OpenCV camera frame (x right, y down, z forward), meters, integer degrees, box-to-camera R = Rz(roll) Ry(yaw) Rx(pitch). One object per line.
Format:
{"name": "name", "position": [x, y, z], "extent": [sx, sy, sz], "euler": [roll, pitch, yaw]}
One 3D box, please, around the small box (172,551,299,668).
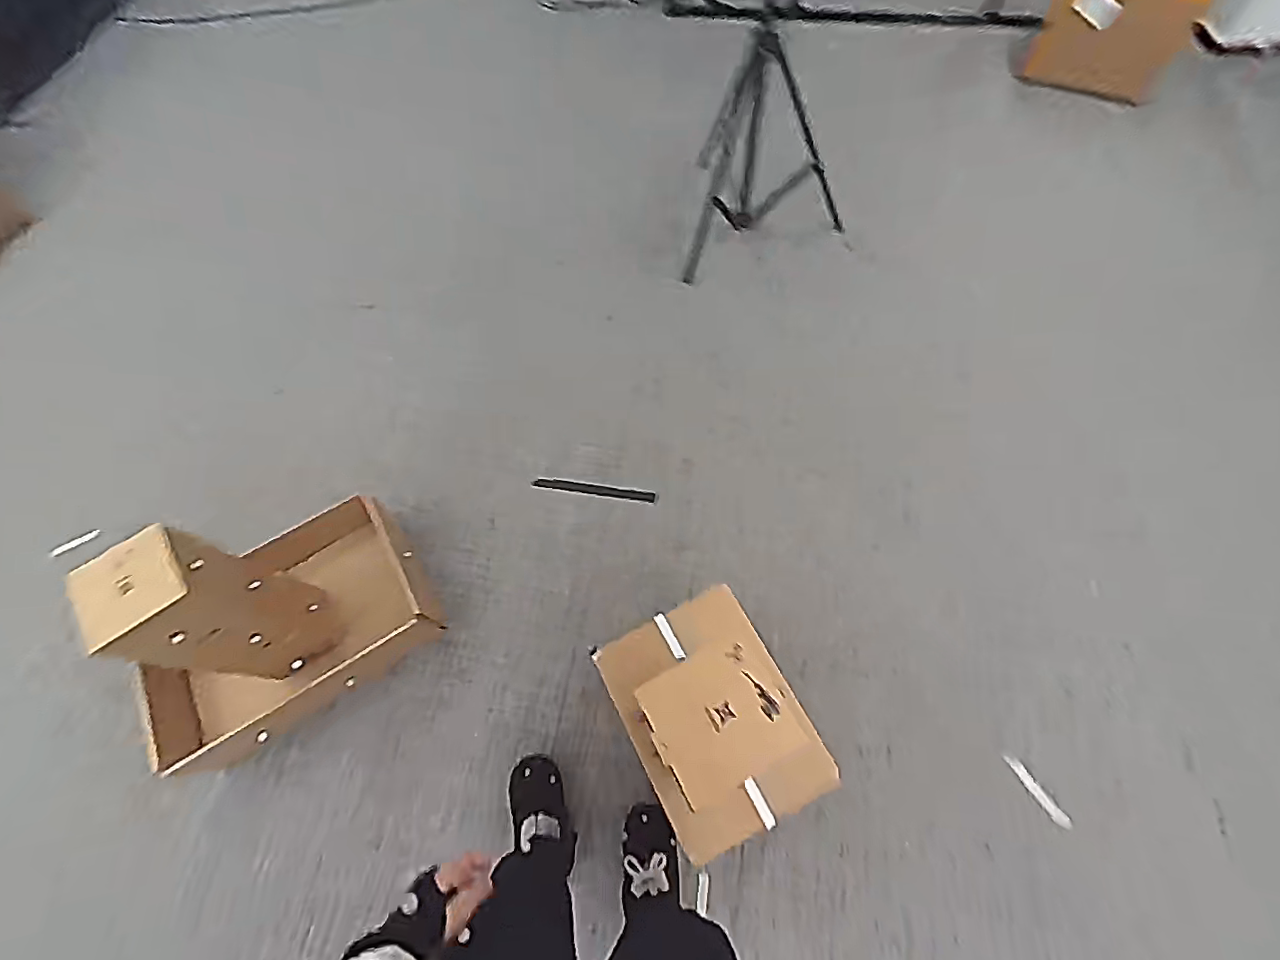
{"name": "small box", "position": [-0.888, 0.289, 1.174], "extent": [0.168, 0.176, 0.179], "euler": [-35, 67, -13]}

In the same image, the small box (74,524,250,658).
{"name": "small box", "position": [-0.891, 0.218, 1.025], "extent": [0.168, 0.176, 0.179], "euler": [-35, 68, -14]}

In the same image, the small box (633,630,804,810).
{"name": "small box", "position": [0.108, 0.345, 0.788], "extent": [0.179, 0.176, 0.168], "euler": [-27, 67, -8]}

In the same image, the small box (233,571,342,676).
{"name": "small box", "position": [-0.872, 0.356, 1.321], "extent": [0.168, 0.176, 0.179], "euler": [-31, 68, -10]}
